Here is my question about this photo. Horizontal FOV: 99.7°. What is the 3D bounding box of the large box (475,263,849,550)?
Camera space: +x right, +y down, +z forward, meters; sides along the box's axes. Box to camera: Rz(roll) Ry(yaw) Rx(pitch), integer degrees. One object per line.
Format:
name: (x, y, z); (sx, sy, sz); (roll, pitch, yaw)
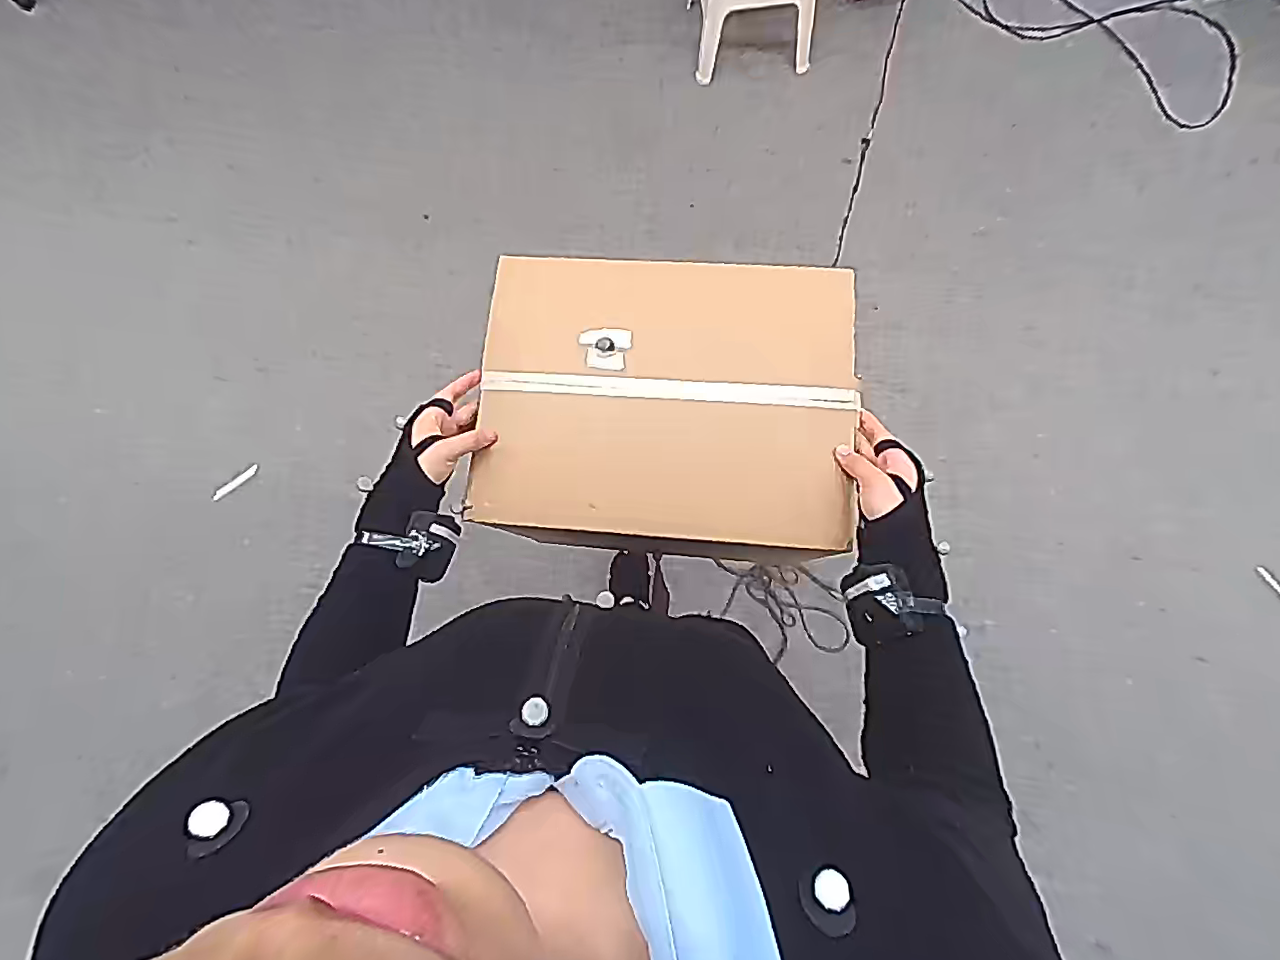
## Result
large box: (0.038, -0.073, 0.743); (0.408, 0.320, 0.320); (3, 78, 5)
